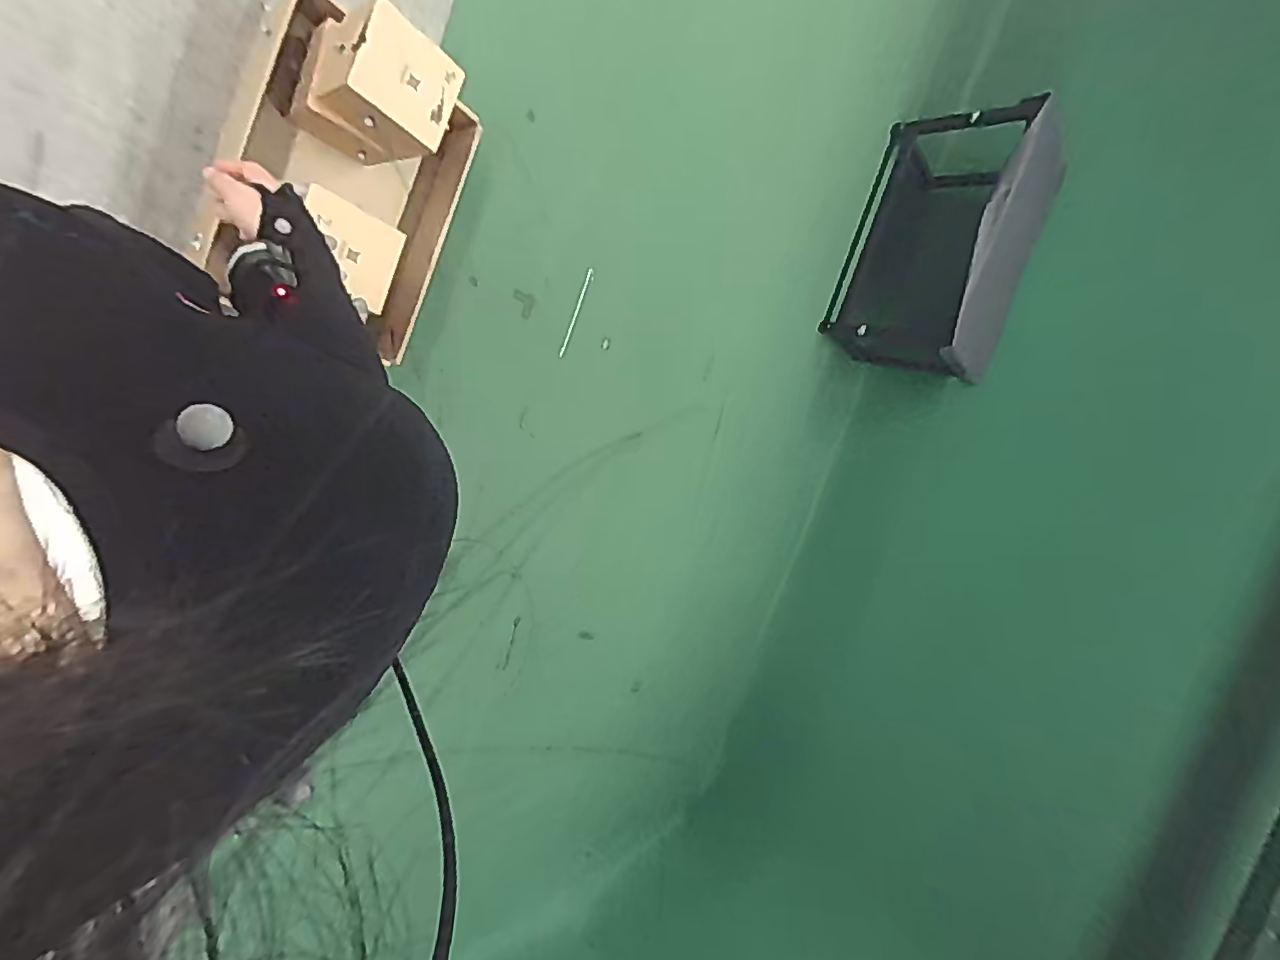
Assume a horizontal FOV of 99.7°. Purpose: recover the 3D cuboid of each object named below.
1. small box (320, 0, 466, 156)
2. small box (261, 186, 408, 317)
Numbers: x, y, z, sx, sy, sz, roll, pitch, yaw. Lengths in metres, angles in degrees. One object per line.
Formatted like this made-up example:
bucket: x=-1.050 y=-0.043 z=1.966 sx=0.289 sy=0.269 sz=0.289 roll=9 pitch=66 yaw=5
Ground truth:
small box: x=-0.468 y=-0.741 z=1.017 sx=0.179 sy=0.176 sz=0.168 roll=20 pitch=92 yaw=-49
small box: x=-0.584 y=-0.431 z=1.032 sx=0.179 sy=0.176 sz=0.168 roll=17 pitch=93 yaw=-49
